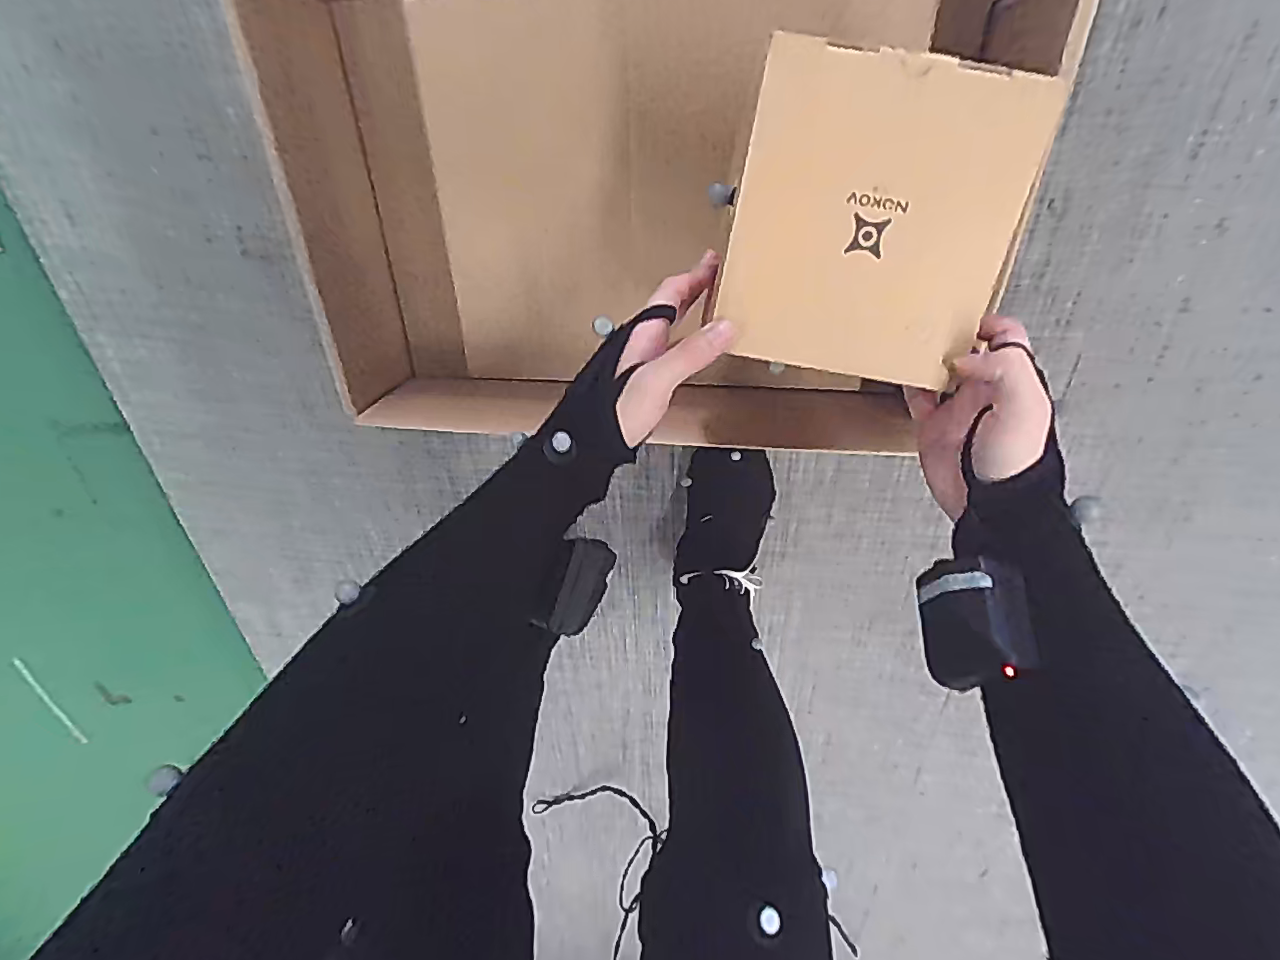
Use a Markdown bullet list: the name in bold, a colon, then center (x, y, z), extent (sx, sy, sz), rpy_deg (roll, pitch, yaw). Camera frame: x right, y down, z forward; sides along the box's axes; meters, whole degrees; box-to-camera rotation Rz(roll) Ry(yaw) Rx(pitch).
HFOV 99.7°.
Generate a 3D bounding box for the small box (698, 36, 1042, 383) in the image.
- **small box**: center (0.142, -0.185, 0.408), extent (0.168, 0.176, 0.179), rpy_deg (10, 109, 2)
